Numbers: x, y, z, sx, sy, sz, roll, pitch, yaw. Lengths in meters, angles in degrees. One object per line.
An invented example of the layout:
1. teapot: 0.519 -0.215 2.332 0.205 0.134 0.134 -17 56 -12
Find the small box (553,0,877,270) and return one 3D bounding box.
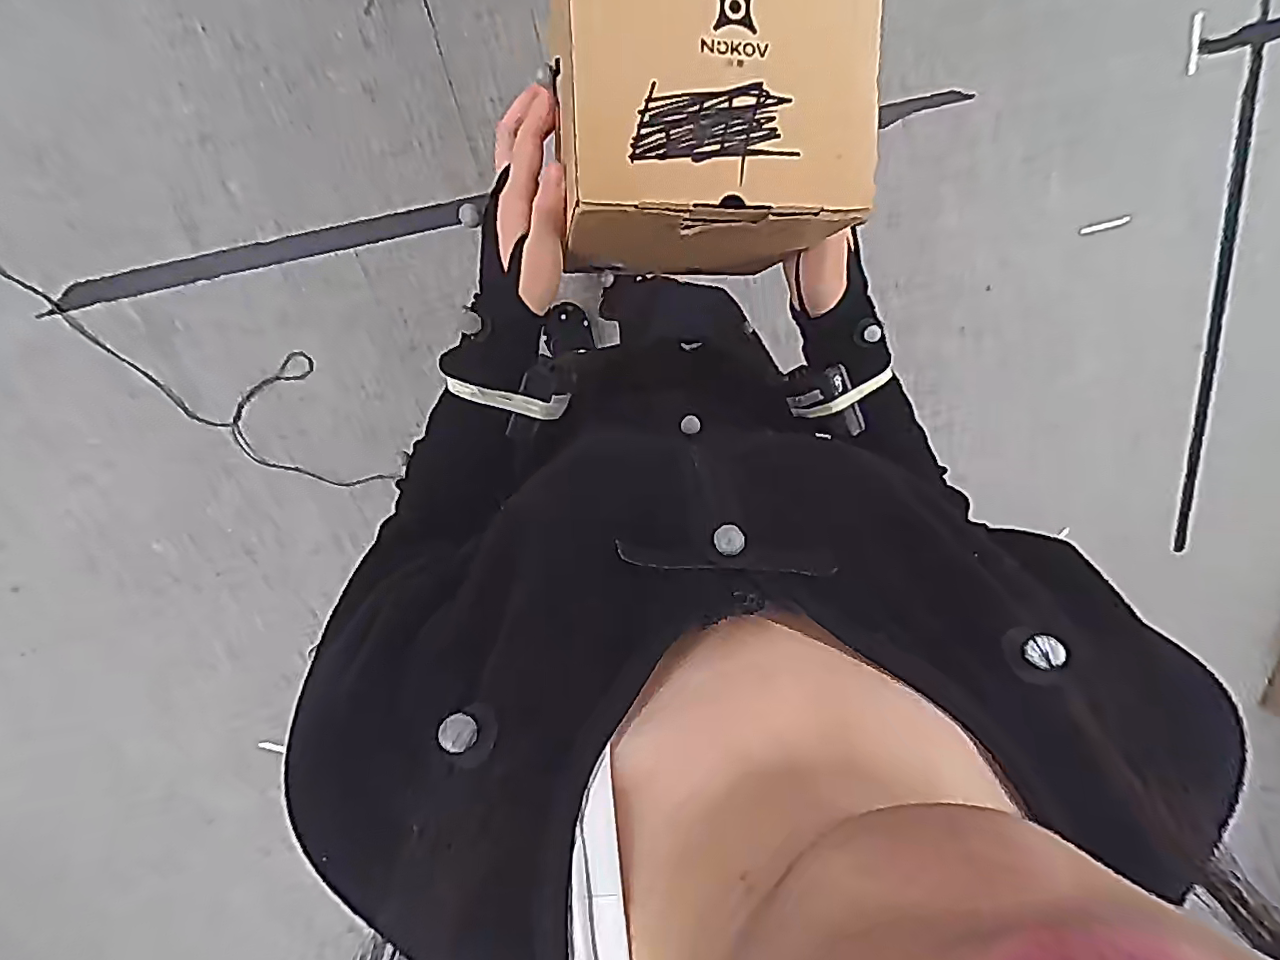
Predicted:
1. small box: 0.030 -0.243 0.353 0.168 0.176 0.179 -3 99 -11
